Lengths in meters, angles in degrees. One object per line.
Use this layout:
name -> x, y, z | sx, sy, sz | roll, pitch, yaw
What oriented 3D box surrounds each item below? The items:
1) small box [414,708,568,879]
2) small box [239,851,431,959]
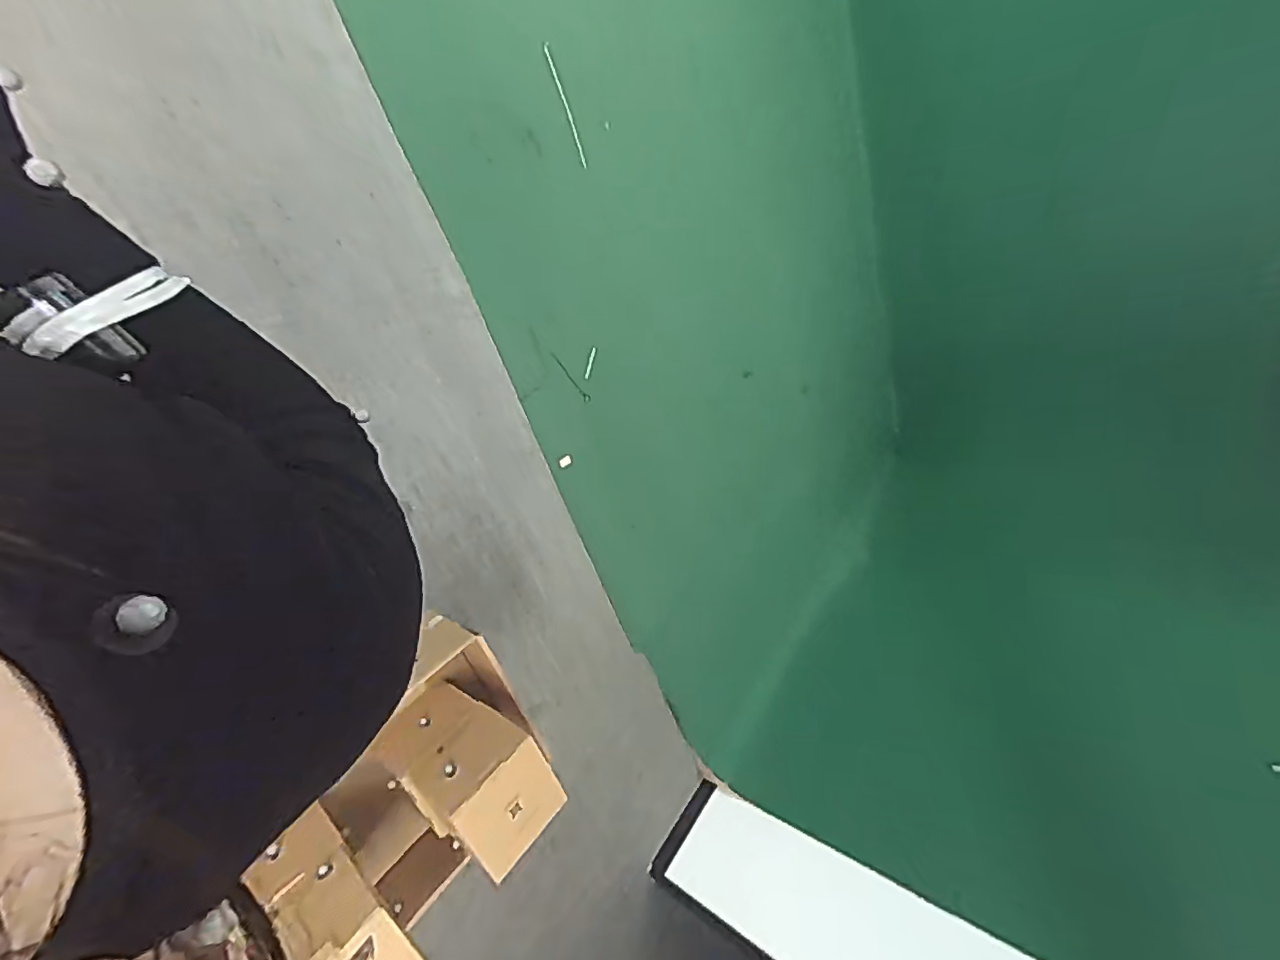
small box -> -0.262, 0.531, 0.948 | 0.168, 0.176, 0.179 | -38, 120, -36
small box -> -0.440, 0.687, 0.783 | 0.168, 0.176, 0.179 | -36, 119, -37
